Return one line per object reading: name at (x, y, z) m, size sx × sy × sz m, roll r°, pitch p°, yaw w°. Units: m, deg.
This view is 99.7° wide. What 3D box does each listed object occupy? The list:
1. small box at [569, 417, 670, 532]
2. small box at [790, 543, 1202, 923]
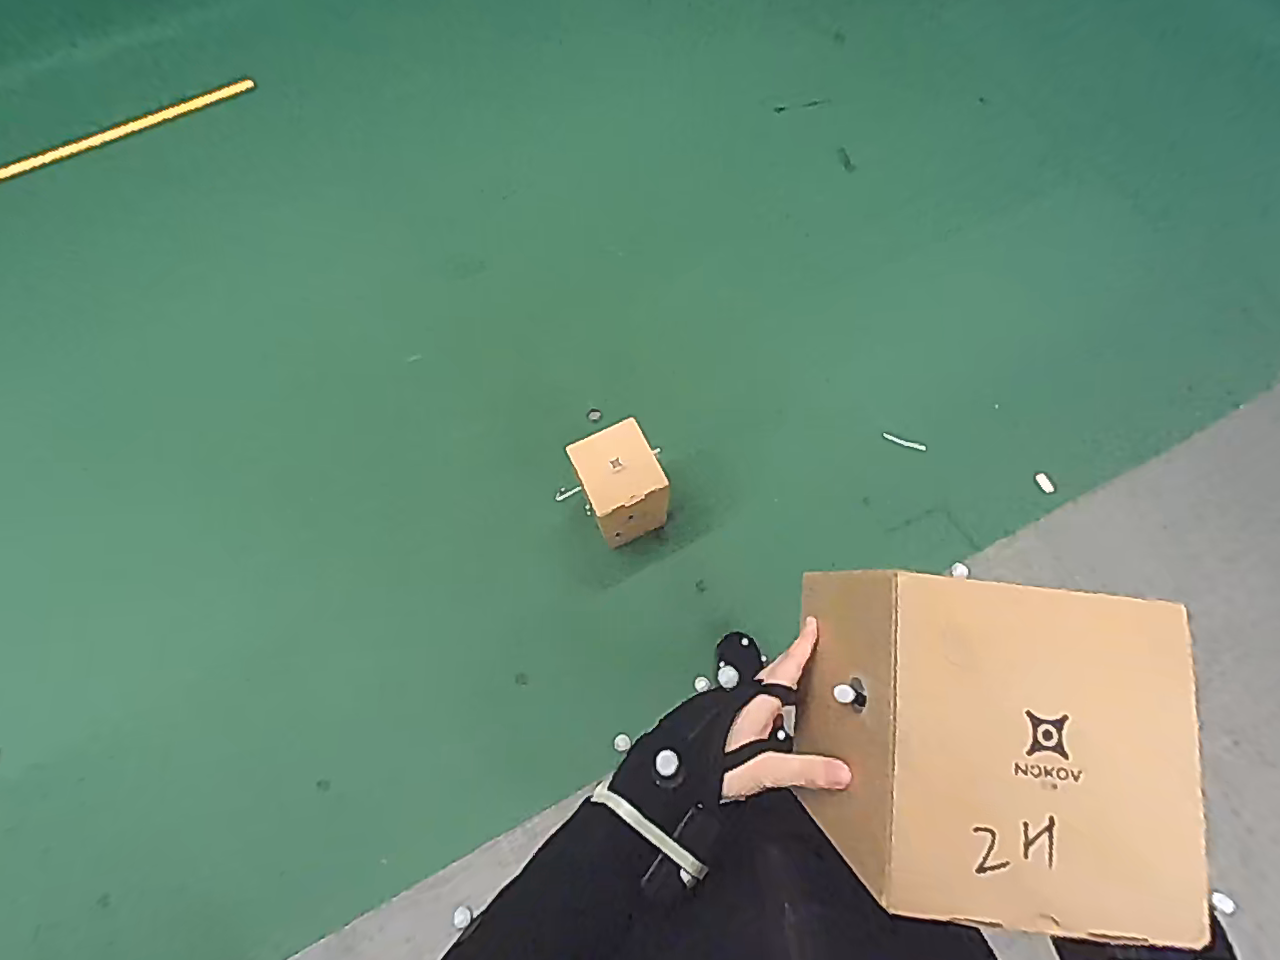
small box at (-0.045, -0.005, 1.215) m, size 0.168 × 0.176 × 0.179 m, roll -25°, pitch 72°, yaw -7°
small box at (0.207, 0.144, 0.365) m, size 0.168 × 0.176 × 0.179 m, roll 6°, pitch 79°, yaw 1°
